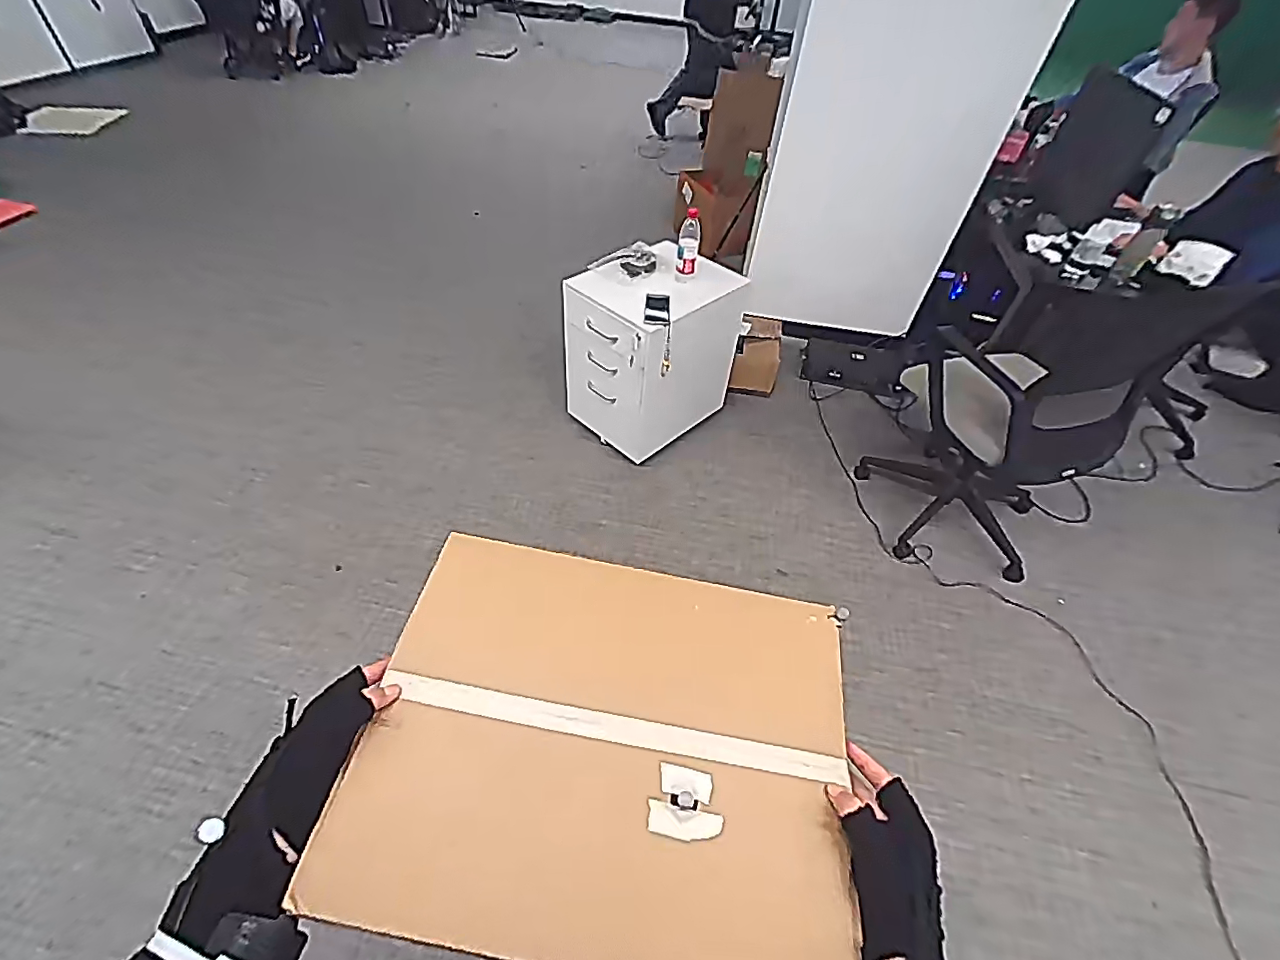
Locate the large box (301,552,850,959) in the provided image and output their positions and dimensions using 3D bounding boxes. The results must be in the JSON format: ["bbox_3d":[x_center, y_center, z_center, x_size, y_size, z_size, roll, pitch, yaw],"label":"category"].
[{"bbox_3d":[-0.043,0.317,0.586,0.408,0.320,0.320,11,52,0],"label":"large box"}]
